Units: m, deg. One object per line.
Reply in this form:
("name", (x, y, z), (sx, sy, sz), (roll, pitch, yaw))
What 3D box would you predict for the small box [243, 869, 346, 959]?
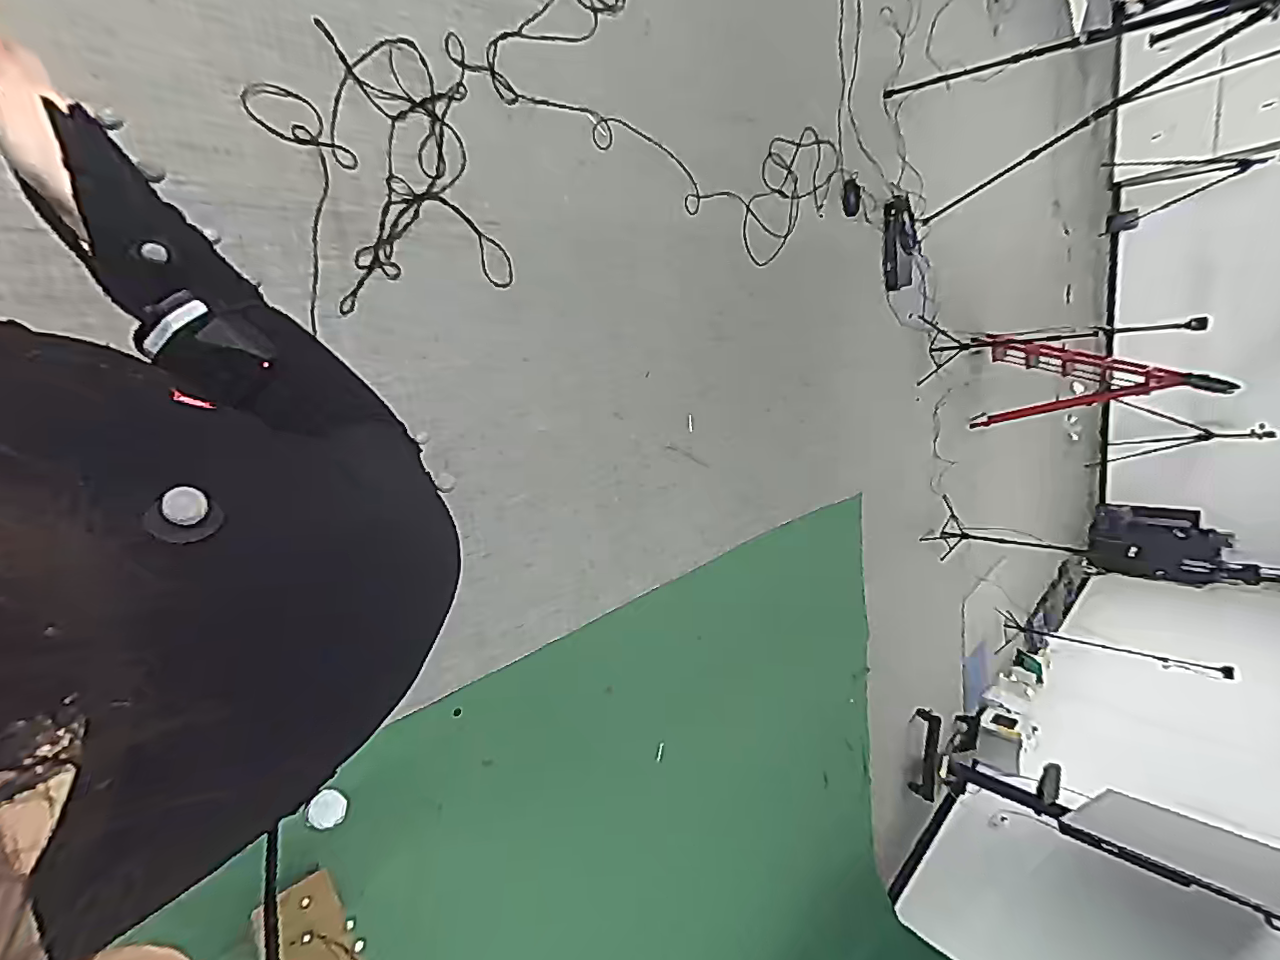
("small box", (-0.849, 1.108, 1.327), (0.168, 0.176, 0.179), (-16, 106, -41))
